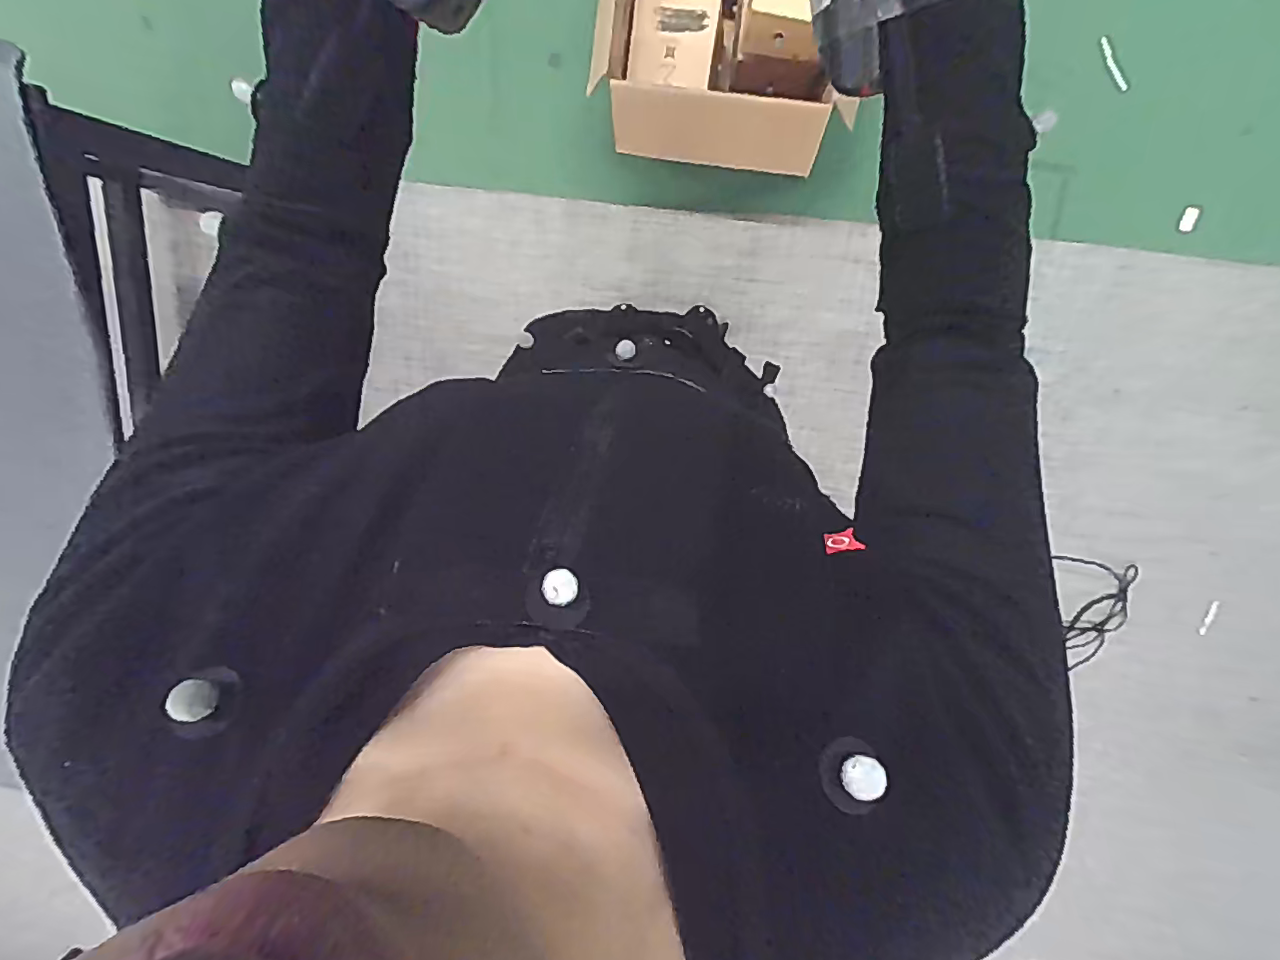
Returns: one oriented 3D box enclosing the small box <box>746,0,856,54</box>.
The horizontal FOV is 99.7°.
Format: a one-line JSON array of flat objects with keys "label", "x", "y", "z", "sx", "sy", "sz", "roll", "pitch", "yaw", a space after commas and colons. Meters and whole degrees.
[{"label": "small box", "x": 0.281, "y": -0.859, "z": 0.907, "sx": 0.168, "sy": 0.176, "sz": 0.179, "roll": 11, "pitch": 109, "yaw": 0}]
